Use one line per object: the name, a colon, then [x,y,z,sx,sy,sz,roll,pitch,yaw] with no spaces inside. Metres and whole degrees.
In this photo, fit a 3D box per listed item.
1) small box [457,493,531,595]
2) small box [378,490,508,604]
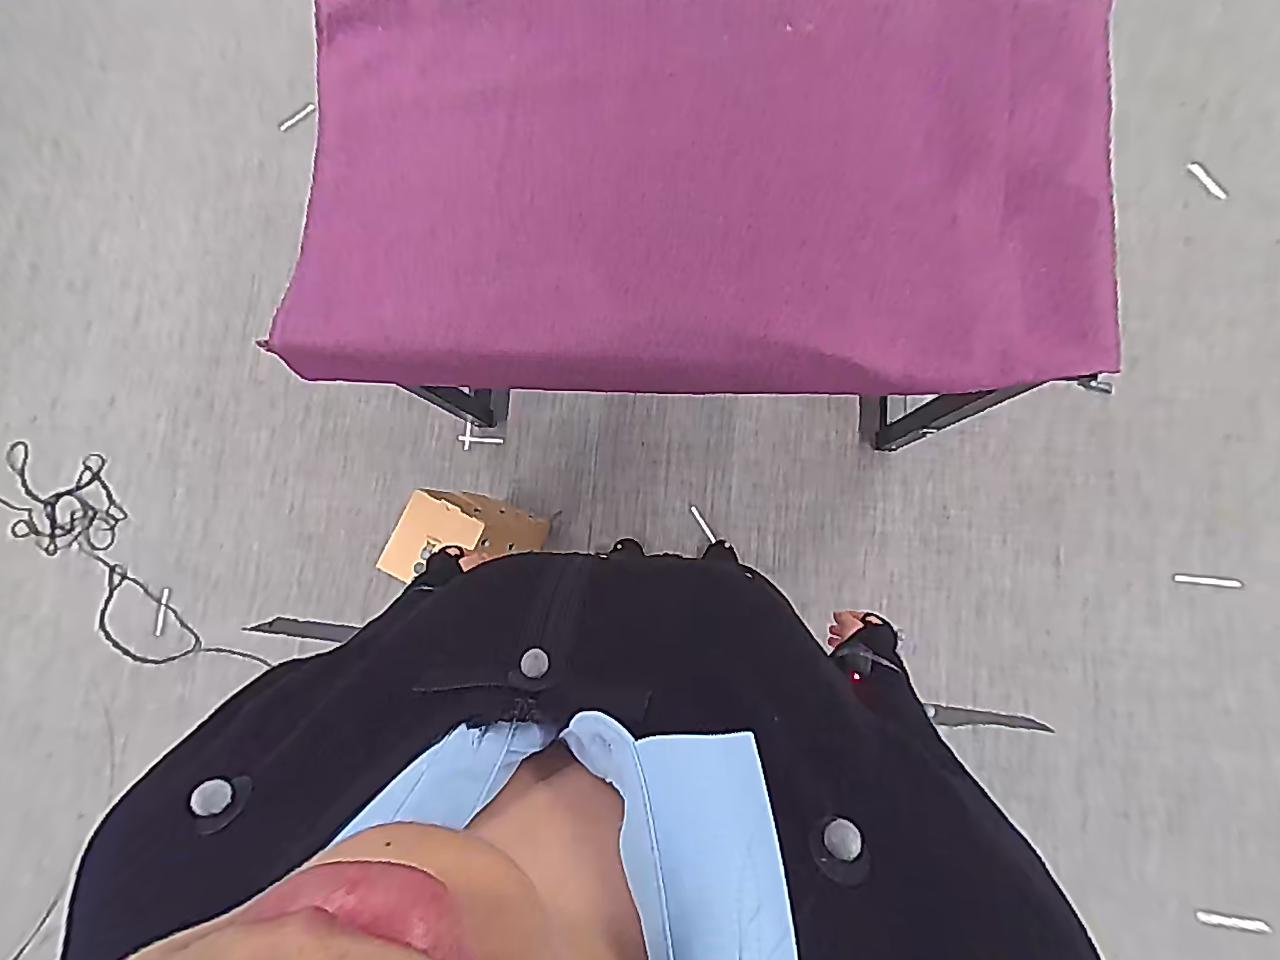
small box: [-0.383,0.151,1.297,0.168,0.176,0.179,32,88,7]
small box: [-0.400,0.138,1.135,0.168,0.176,0.179,25,86,7]
